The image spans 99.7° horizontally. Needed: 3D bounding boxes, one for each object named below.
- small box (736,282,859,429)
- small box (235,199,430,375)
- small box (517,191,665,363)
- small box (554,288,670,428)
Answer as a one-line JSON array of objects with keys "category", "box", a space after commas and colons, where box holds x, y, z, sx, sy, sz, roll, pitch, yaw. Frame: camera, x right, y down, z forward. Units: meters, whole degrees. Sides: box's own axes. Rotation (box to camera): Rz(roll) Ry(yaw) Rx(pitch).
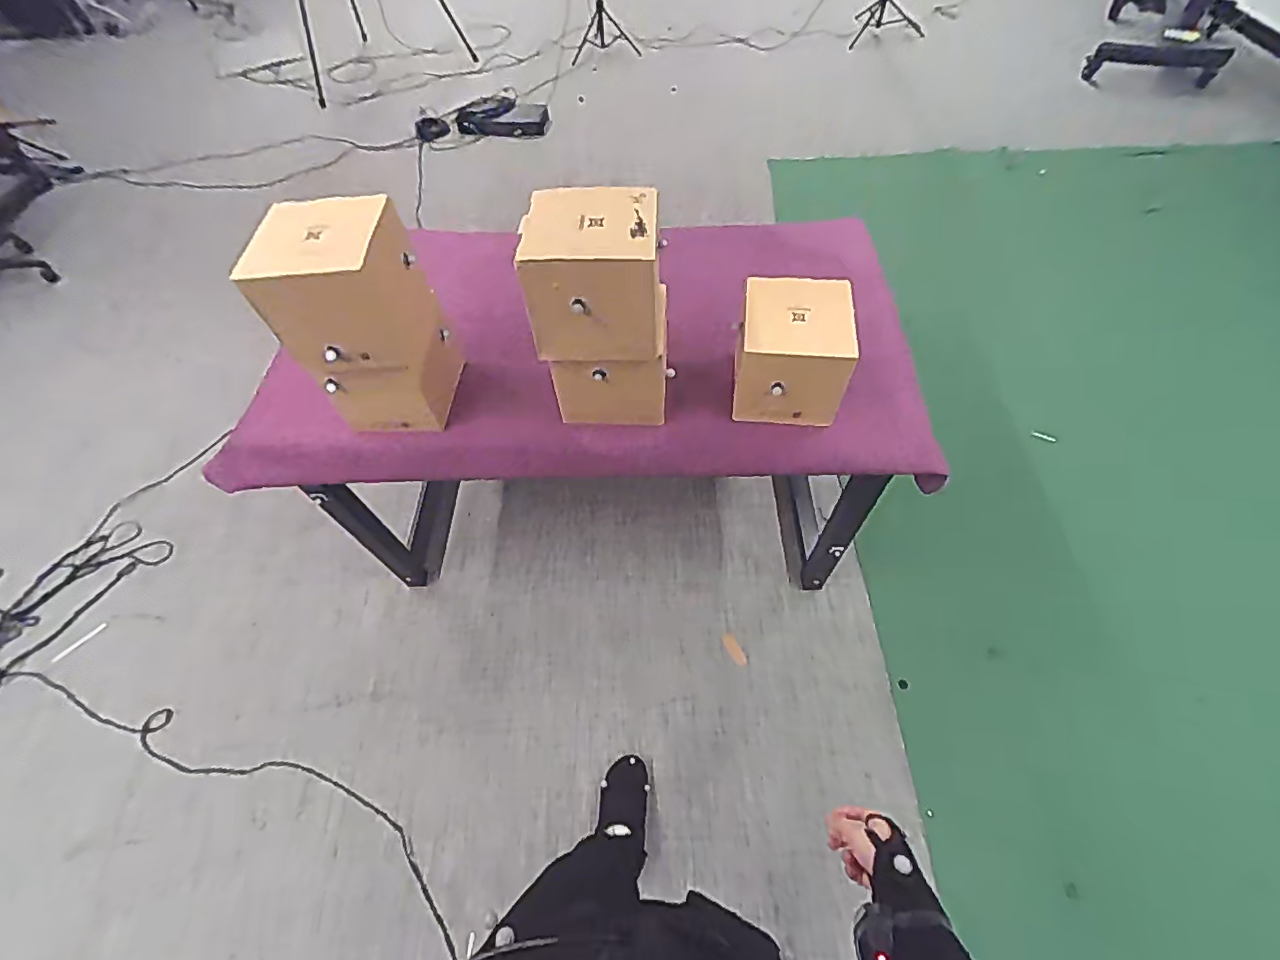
[{"category": "small box", "box": [0.251, -0.201, 0.894, 0.168, 0.176, 0.179, 4, 57, 6]}, {"category": "small box", "box": [-0.418, -0.273, 0.775, 0.168, 0.176, 0.179, -4, 56, 0]}, {"category": "small box", "box": [-0.057, -0.280, 0.763, 0.179, 0.176, 0.168, 1, 56, 4]}, {"category": "small box", "box": [-0.040, -0.202, 0.907, 0.179, 0.176, 0.168, 2, 57, 3]}]
